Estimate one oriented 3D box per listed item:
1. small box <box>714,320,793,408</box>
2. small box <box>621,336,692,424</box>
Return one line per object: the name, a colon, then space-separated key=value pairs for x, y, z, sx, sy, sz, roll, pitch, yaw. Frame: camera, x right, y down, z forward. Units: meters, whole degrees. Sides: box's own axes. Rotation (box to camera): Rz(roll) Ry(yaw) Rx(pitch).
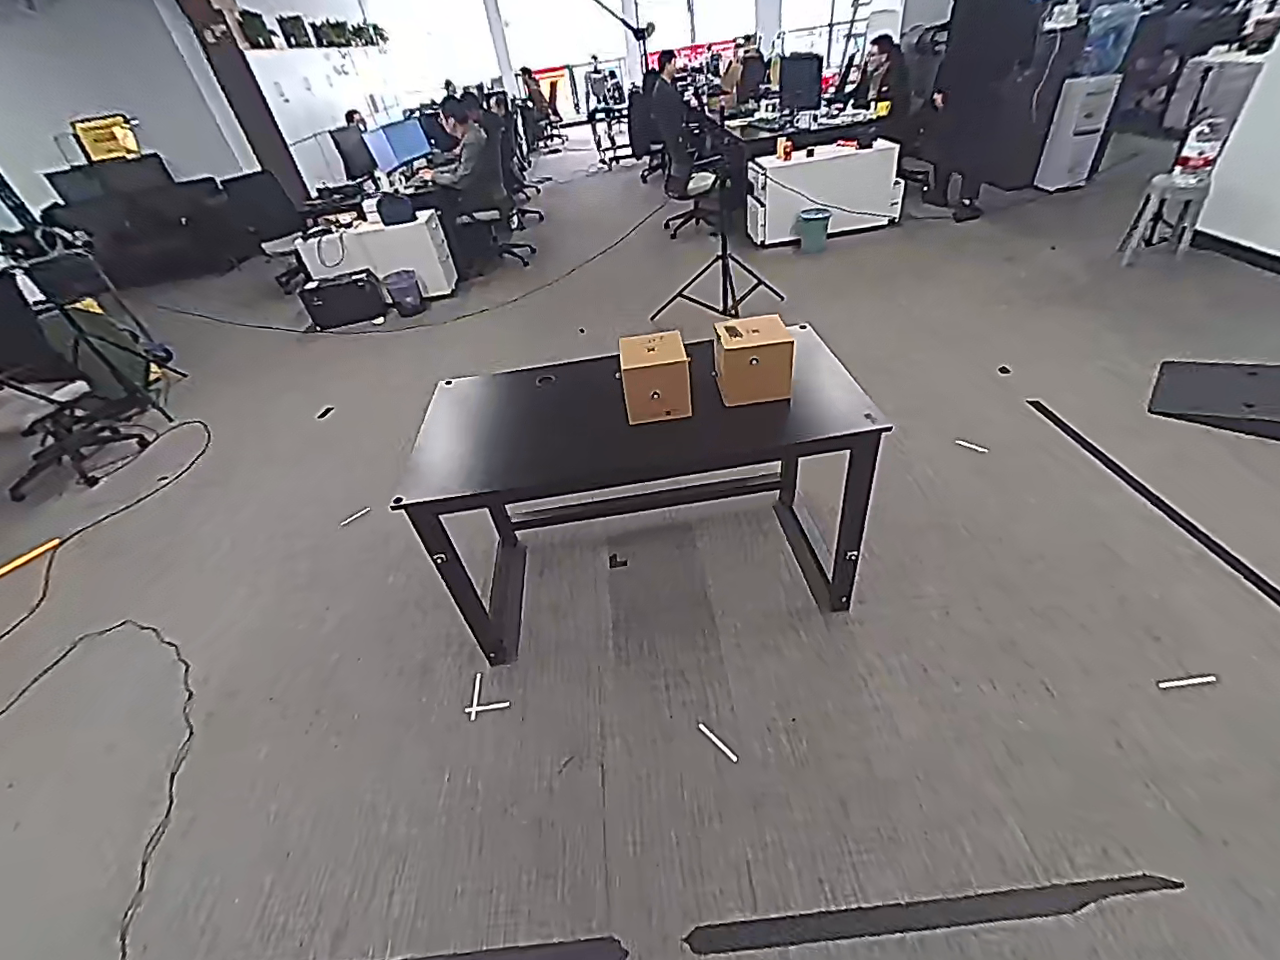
small box: x=0.300 y=-0.307 z=1.448 sx=0.179 sy=0.176 sz=0.168 roll=-7 pitch=39 yaw=2
small box: x=0.044 y=-0.262 z=1.445 sx=0.168 sy=0.176 sz=0.179 roll=-8 pitch=39 yaw=2
